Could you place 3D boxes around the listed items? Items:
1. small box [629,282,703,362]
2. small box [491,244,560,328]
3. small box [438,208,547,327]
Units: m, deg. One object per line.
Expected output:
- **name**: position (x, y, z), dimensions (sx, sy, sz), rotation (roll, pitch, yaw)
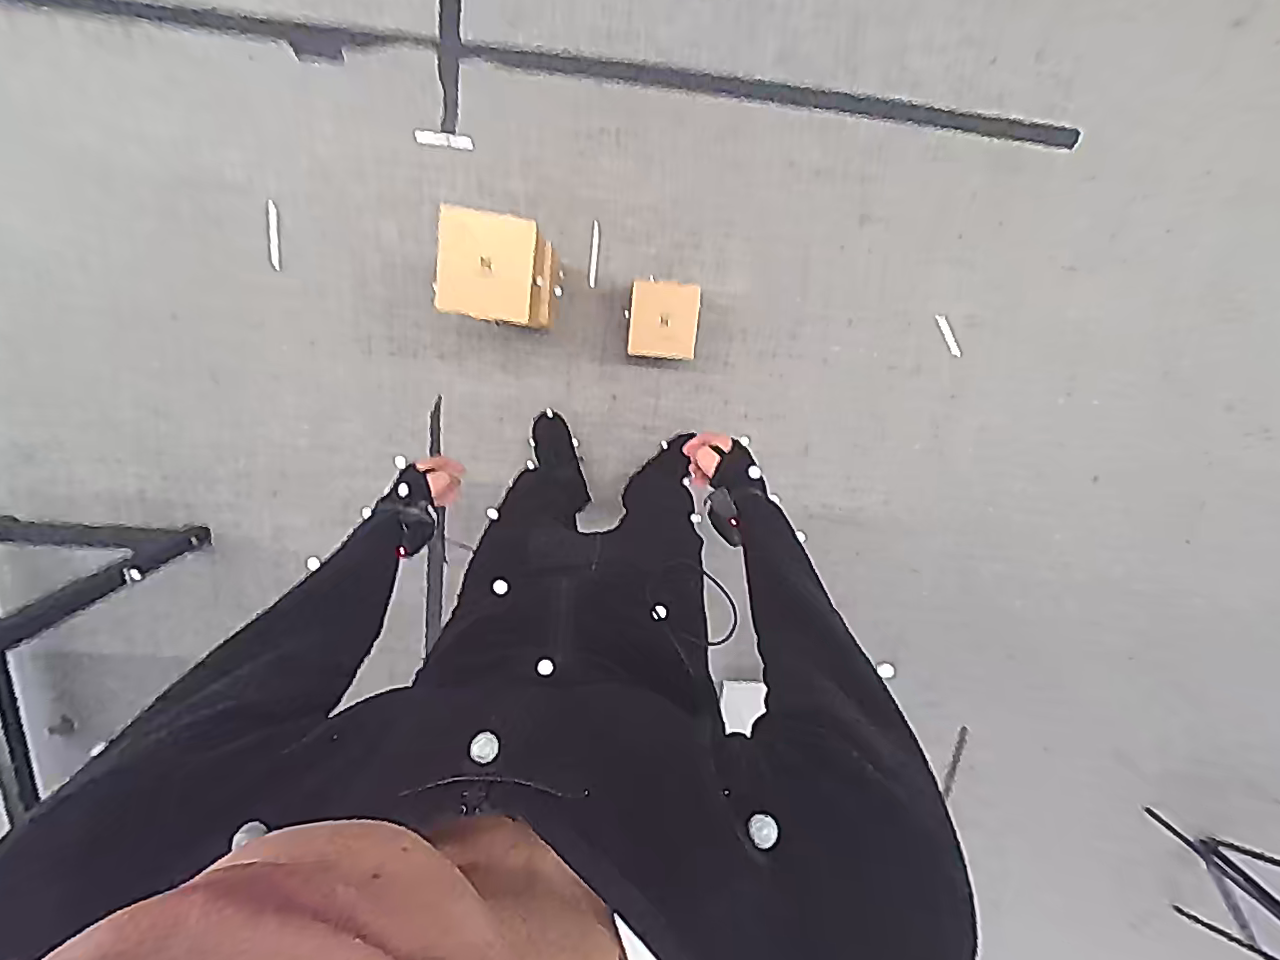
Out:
- **small box**: position (0.060, -0.402, 1.386), dimensions (0.168, 0.176, 0.179), rotation (4, 106, -3)
- **small box**: position (-0.274, -0.427, 1.185), dimensions (0.179, 0.176, 0.168), rotation (5, 105, -6)
- **small box**: position (-0.272, -0.392, 1.026), dimensions (0.168, 0.176, 0.179), rotation (7, 105, -6)
